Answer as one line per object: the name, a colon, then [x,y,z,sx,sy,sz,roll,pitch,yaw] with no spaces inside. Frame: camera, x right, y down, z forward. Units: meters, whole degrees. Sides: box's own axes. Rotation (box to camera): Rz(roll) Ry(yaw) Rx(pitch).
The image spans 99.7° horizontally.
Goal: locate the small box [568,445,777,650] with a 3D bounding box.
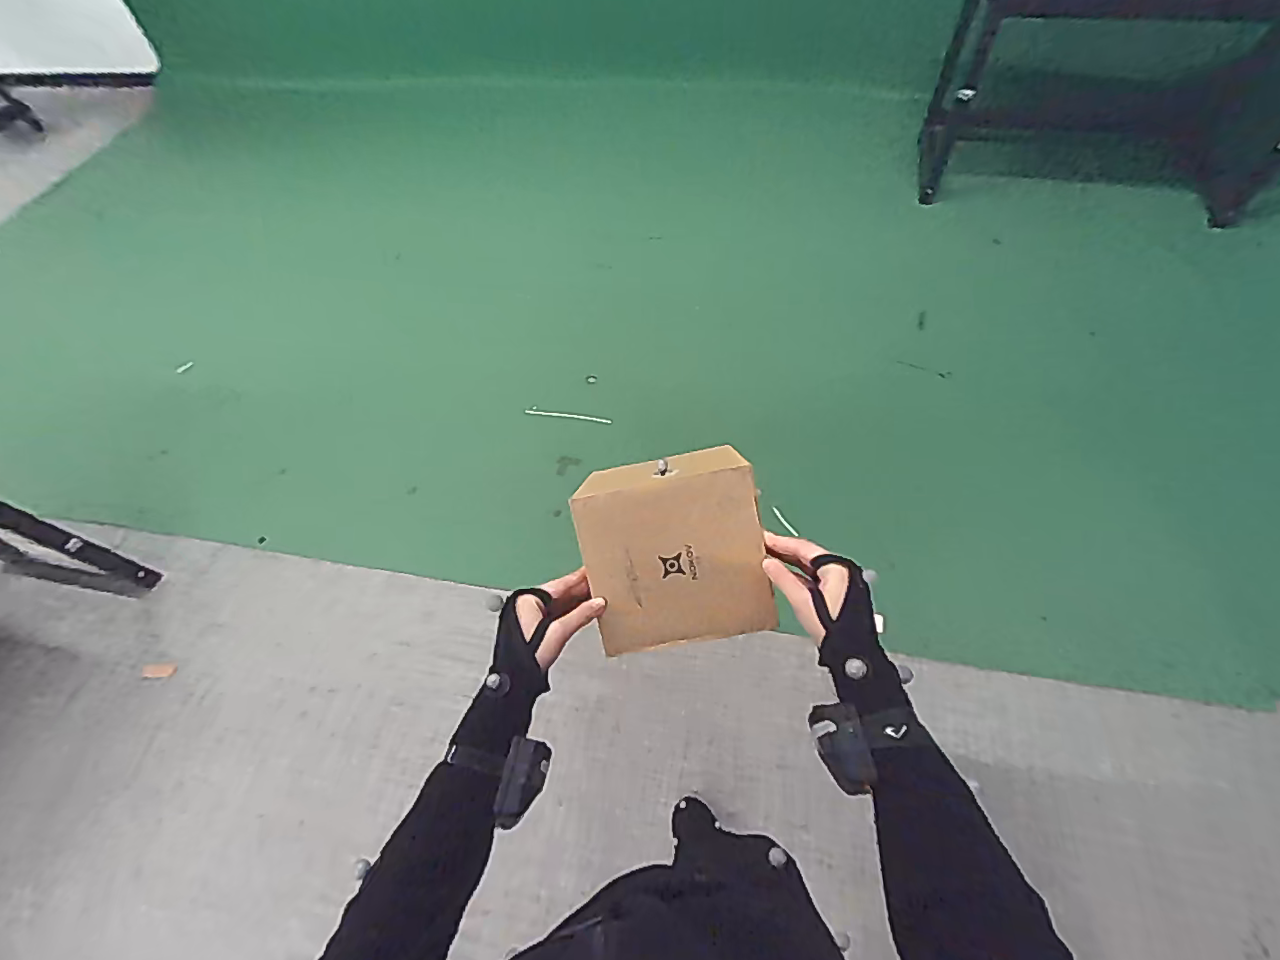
small box: [0.034,0.060,0.593,0.179,0.176,0.168,-12,96,5]
